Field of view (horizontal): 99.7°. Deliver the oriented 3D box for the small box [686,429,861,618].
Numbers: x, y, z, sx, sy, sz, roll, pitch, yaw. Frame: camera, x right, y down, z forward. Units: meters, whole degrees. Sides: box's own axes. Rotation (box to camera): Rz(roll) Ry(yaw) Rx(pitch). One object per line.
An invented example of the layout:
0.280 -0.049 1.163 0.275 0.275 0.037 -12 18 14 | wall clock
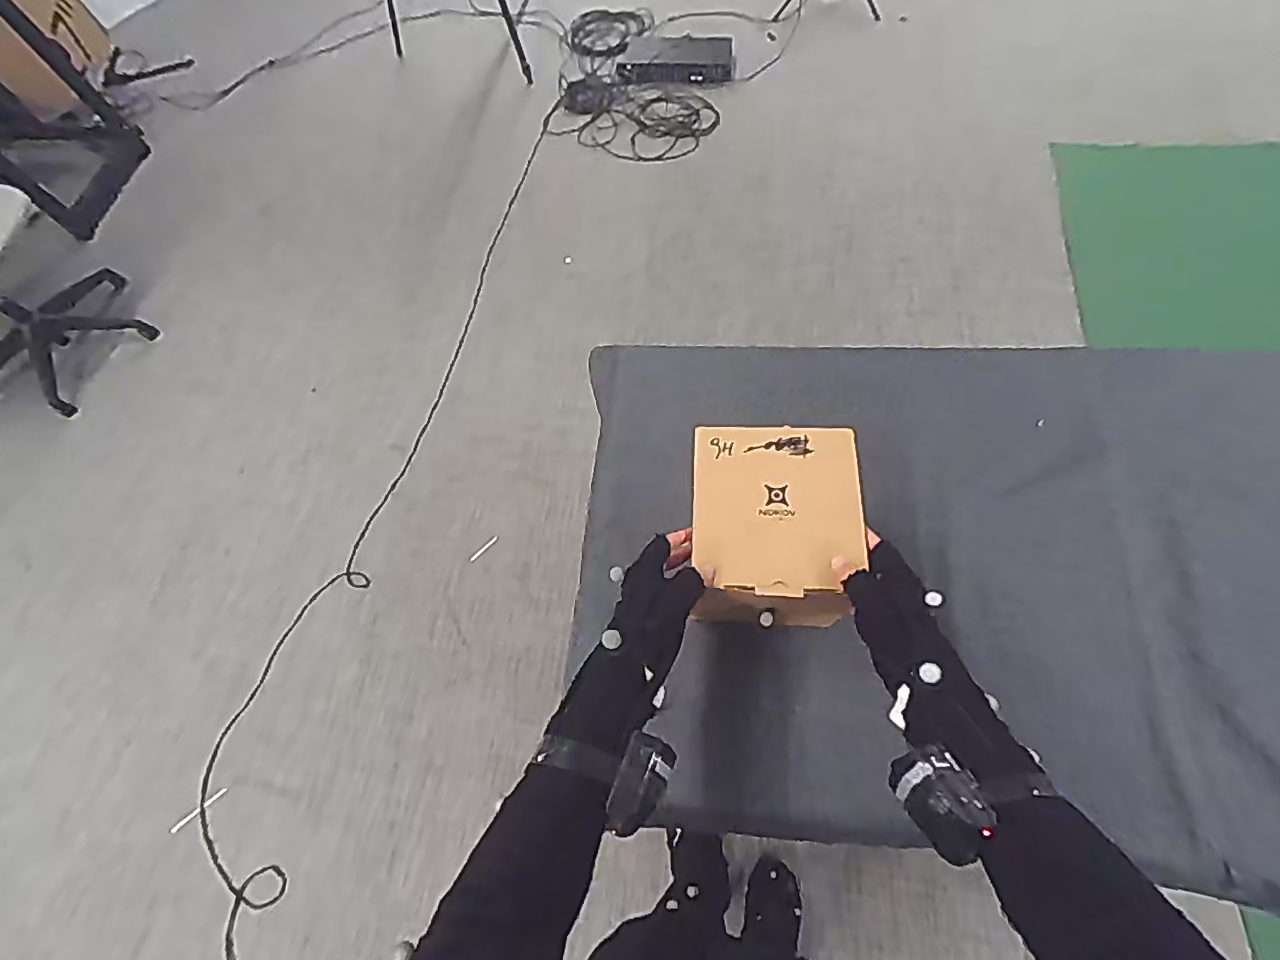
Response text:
0.141 0.057 0.616 0.168 0.176 0.179 1 66 7 | small box
